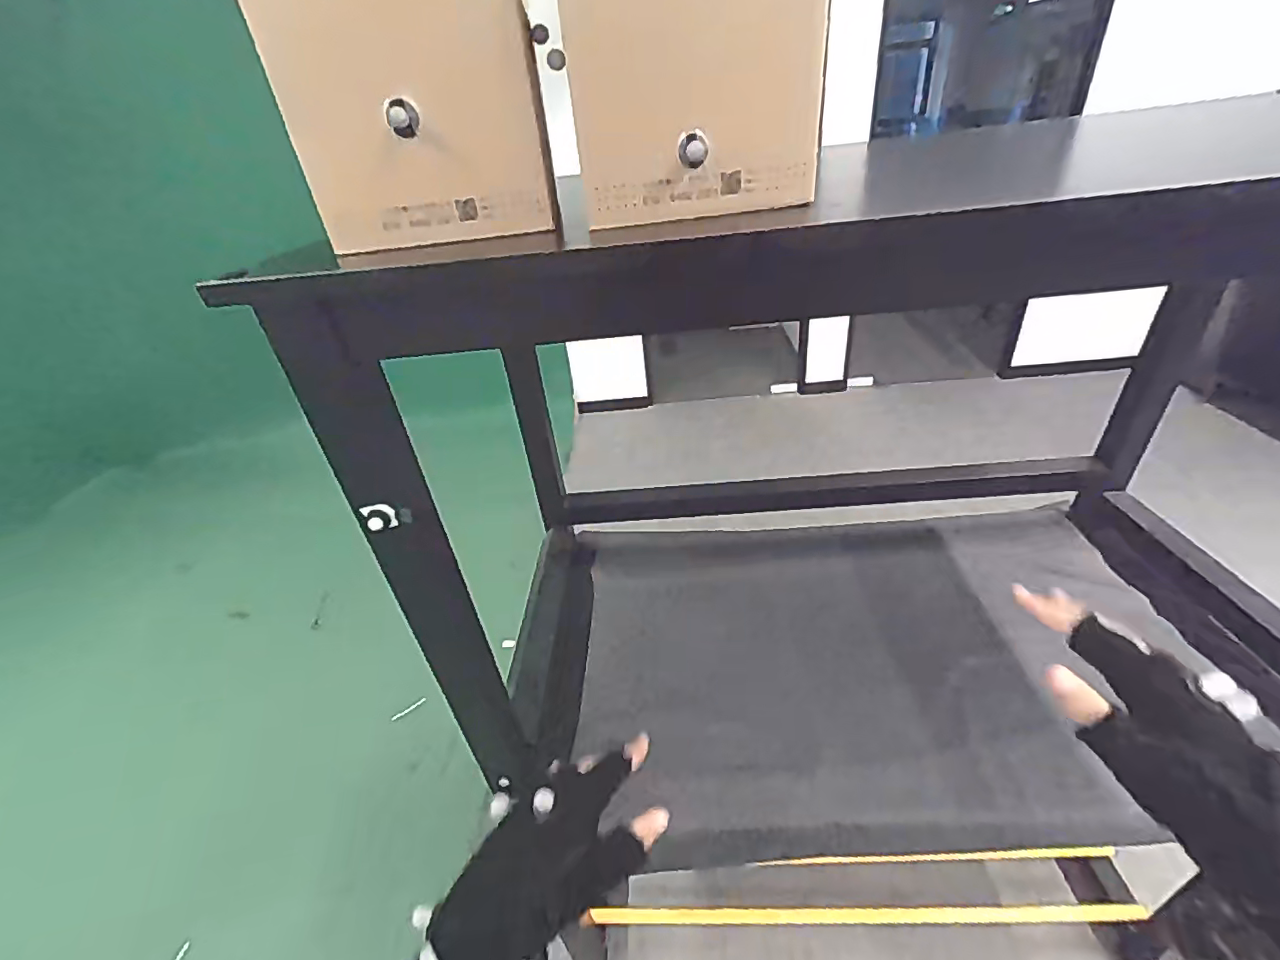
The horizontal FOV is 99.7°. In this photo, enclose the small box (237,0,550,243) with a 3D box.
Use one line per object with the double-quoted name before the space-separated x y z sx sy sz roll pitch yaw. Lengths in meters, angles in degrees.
"small box" -0.172 -0.300 0.445 0.168 0.176 0.179 -7 33 -2
